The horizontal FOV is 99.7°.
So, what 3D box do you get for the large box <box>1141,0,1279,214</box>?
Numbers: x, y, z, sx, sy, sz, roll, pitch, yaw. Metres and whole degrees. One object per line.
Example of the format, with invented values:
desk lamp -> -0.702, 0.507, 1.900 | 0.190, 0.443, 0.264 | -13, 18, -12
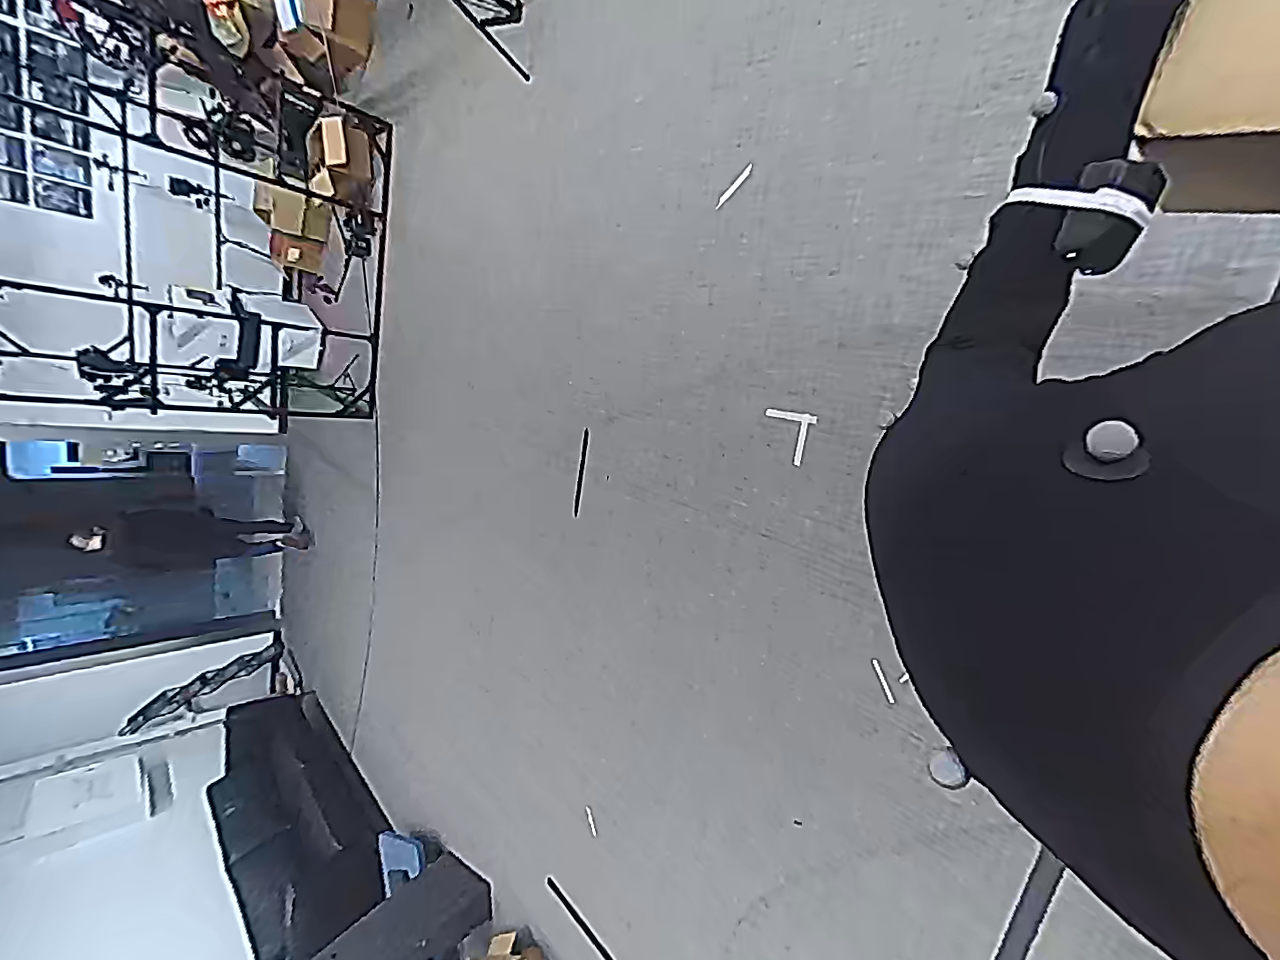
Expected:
large box -> 0.608, -0.346, 0.307 | 0.408, 0.320, 0.320 | 25, 118, 39
